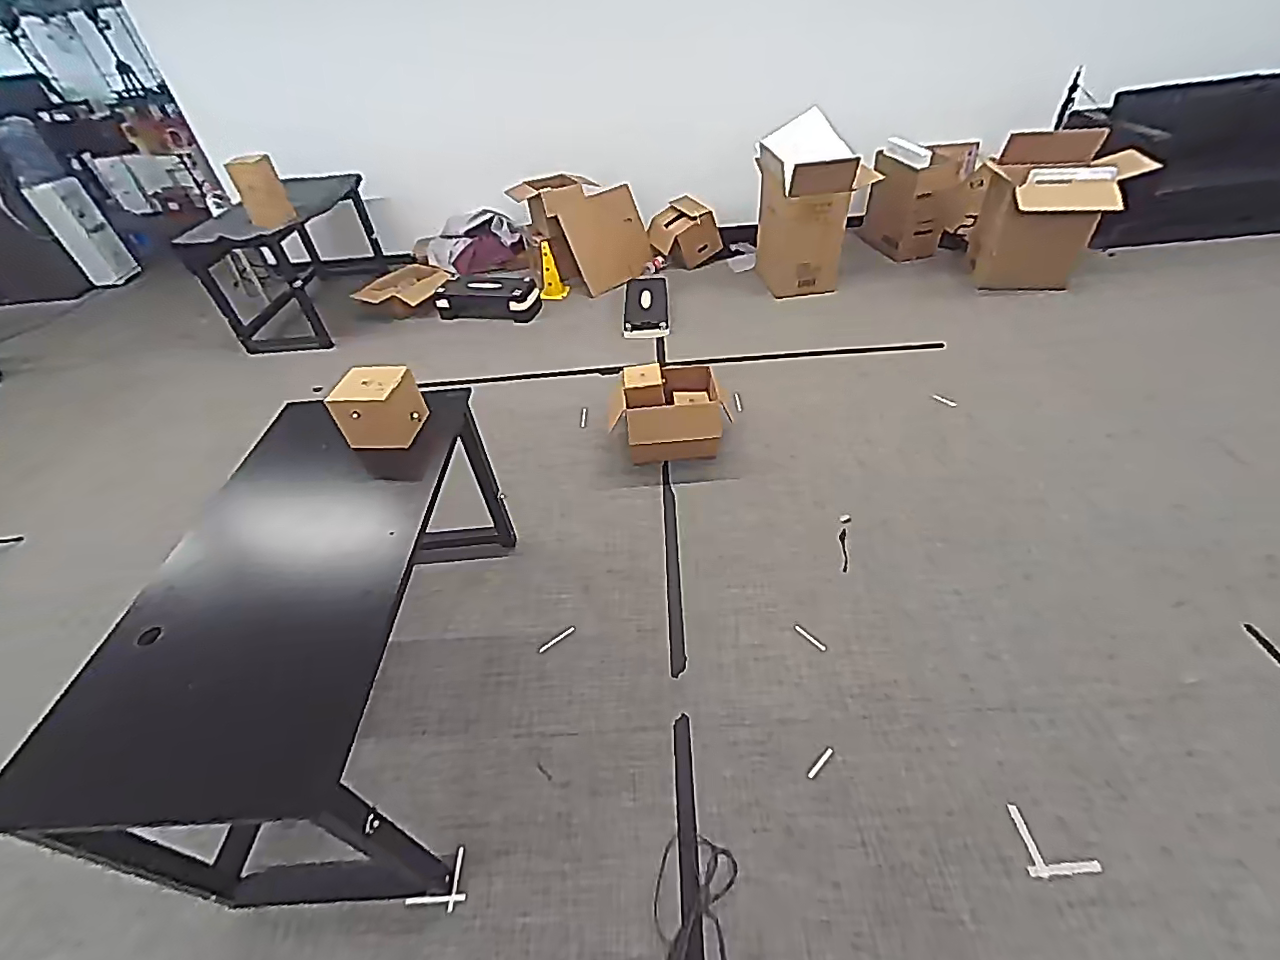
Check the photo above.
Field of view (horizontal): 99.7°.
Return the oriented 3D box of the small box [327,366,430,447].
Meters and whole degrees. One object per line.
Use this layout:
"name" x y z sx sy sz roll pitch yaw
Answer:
"small box" -0.730 -0.206 1.532 0.179 0.176 0.168 1 45 8
